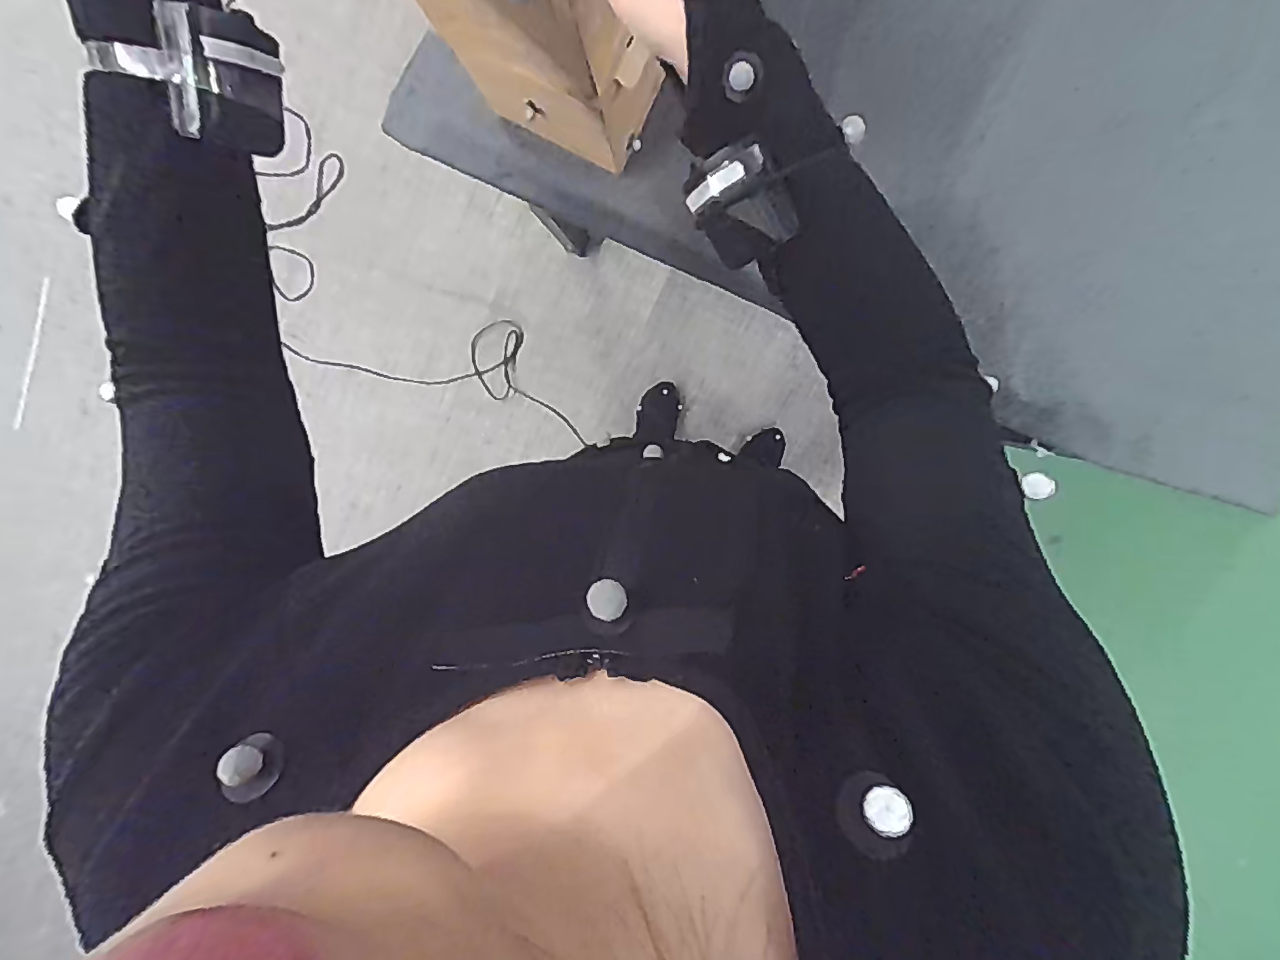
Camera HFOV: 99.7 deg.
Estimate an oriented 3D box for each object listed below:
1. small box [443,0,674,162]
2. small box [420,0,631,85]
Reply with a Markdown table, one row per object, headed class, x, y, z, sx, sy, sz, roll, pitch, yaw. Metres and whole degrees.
| class | x | y | z | sx | sy | sz | roll | pitch | yaw |
| --- | --- | --- | --- | --- | --- | --- | --- | --- | --- |
| small box | -0.072 | -0.479 | 0.583 | 0.179 | 0.176 | 0.168 | 27 | 101 | 0 |
| small box | -0.096 | -0.459 | 0.424 | 0.179 | 0.176 | 0.168 | 22 | 101 | 0 |
